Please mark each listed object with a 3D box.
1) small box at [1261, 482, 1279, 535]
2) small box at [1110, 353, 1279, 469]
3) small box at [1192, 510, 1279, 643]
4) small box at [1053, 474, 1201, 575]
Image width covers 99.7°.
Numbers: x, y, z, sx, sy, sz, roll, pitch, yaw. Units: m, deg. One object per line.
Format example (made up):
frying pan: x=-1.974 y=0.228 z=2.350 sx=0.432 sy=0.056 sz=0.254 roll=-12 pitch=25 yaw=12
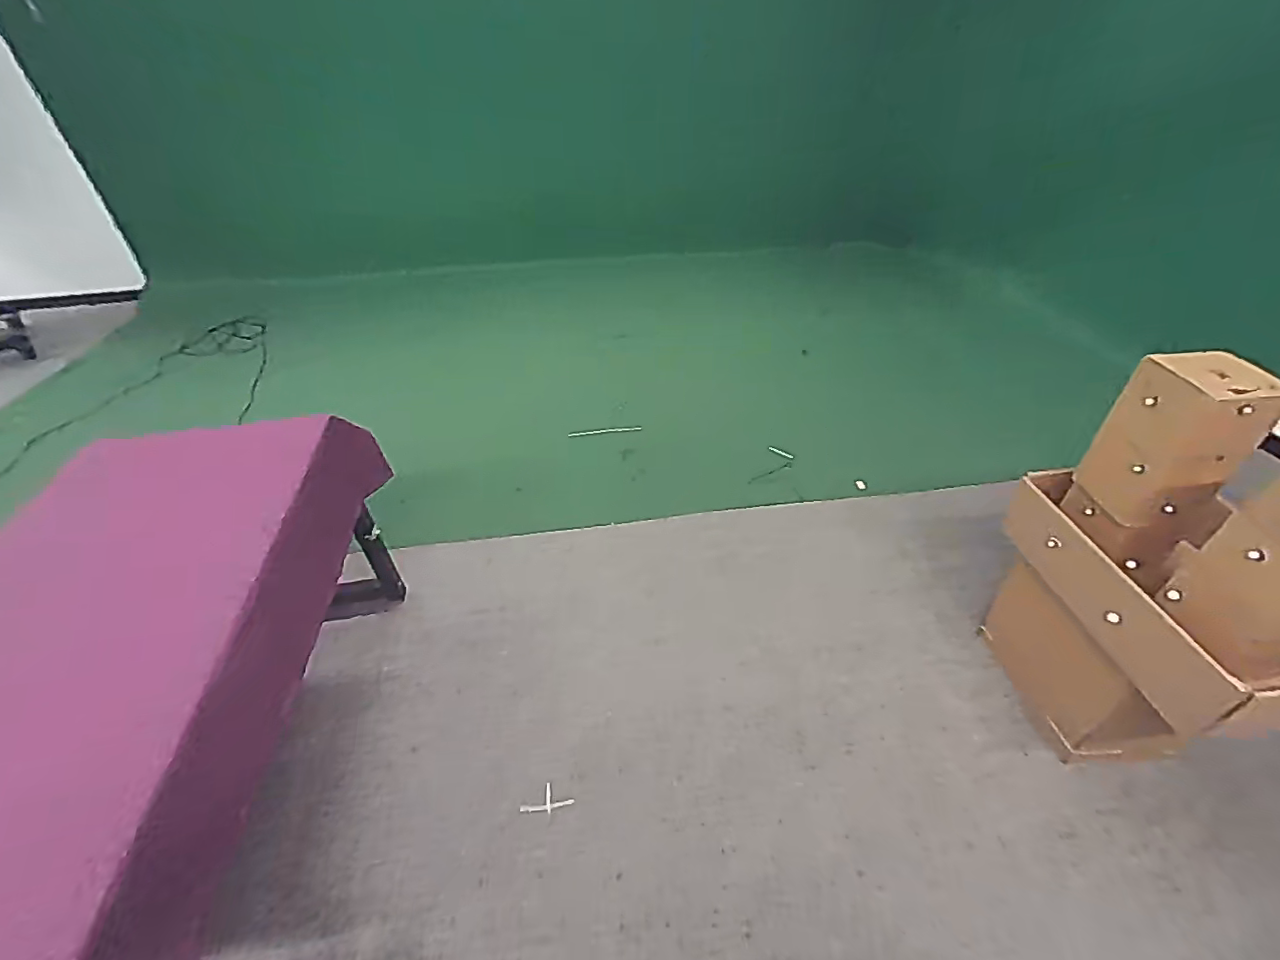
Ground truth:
small box: x=1.178 y=0.046 z=0.862 sx=0.179 sy=0.176 sz=0.168 roll=-5 pitch=40 yaw=-2
small box: x=1.126 y=-0.141 z=1.099 sx=0.168 sy=0.176 sz=0.179 roll=-4 pitch=39 yaw=0
small box: x=1.179 y=0.169 z=0.972 sx=0.168 sy=0.176 sz=0.179 roll=-3 pitch=40 yaw=0
small box: x=1.160 y=0.108 z=1.309 sx=0.168 sy=0.176 sz=0.179 roll=-5 pitch=41 yaw=-1
